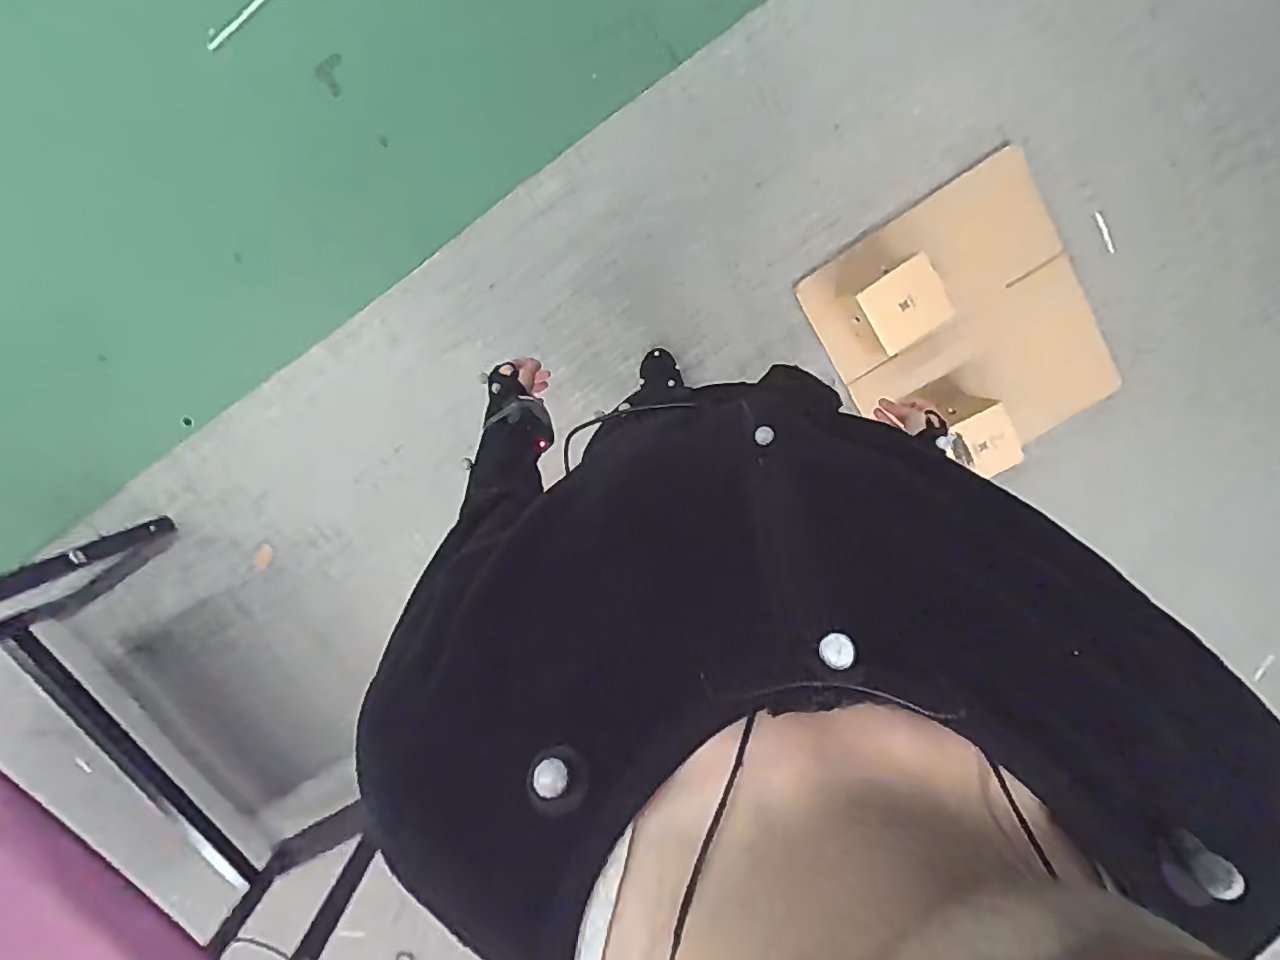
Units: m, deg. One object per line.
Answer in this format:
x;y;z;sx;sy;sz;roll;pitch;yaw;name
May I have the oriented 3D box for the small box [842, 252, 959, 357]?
0.610;-0.413;1.299;0.179;0.176;0.168;-34;101;8;small box
